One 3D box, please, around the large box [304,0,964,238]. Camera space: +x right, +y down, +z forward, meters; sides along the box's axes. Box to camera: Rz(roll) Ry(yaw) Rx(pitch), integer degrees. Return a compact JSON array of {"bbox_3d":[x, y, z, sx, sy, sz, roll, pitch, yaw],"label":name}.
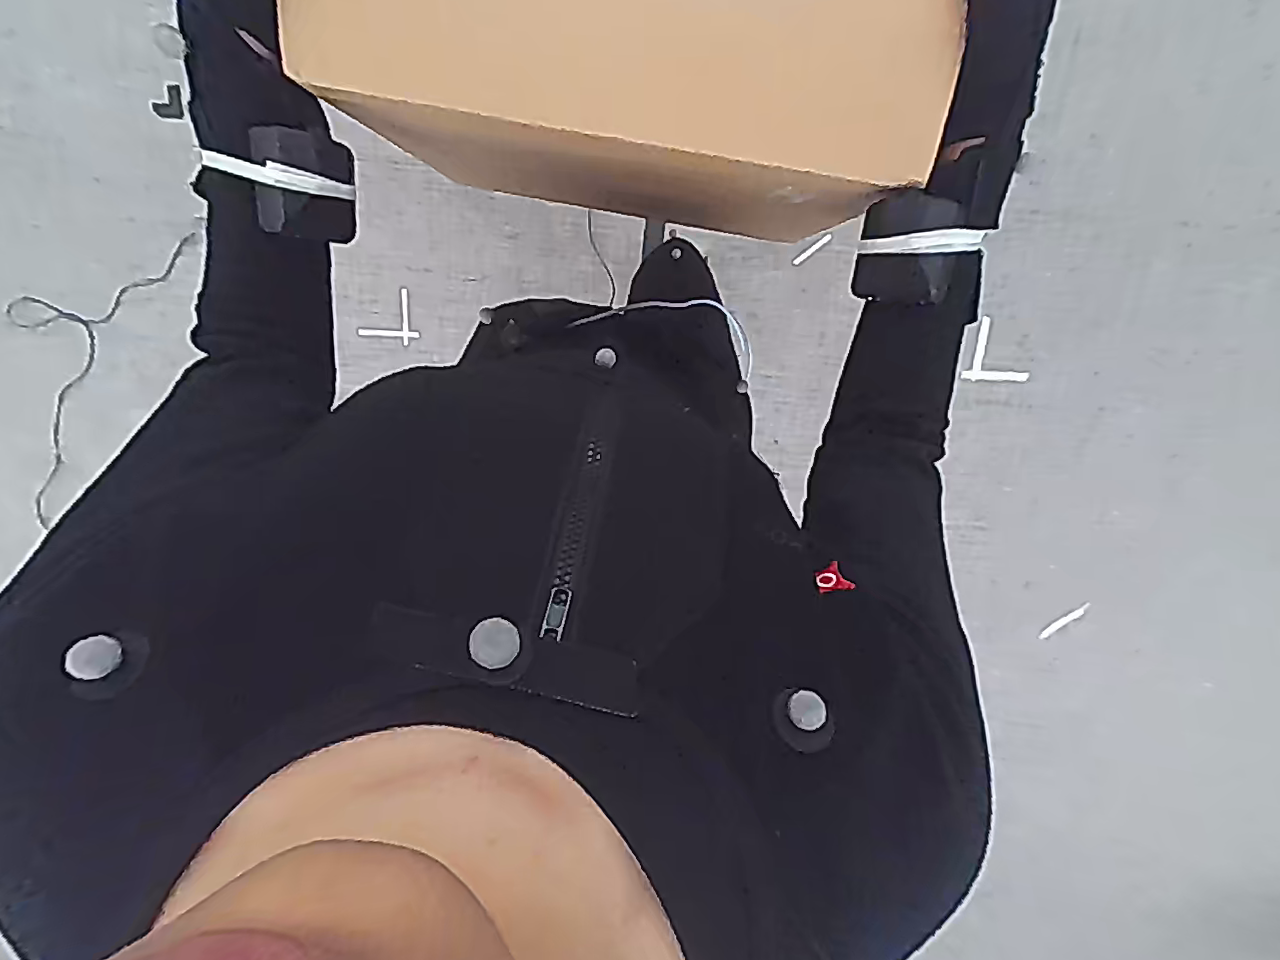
[{"bbox_3d":[0.007,-0.408,0.444,0.408,0.320,0.320,8,109,-3],"label":"large box"}]
